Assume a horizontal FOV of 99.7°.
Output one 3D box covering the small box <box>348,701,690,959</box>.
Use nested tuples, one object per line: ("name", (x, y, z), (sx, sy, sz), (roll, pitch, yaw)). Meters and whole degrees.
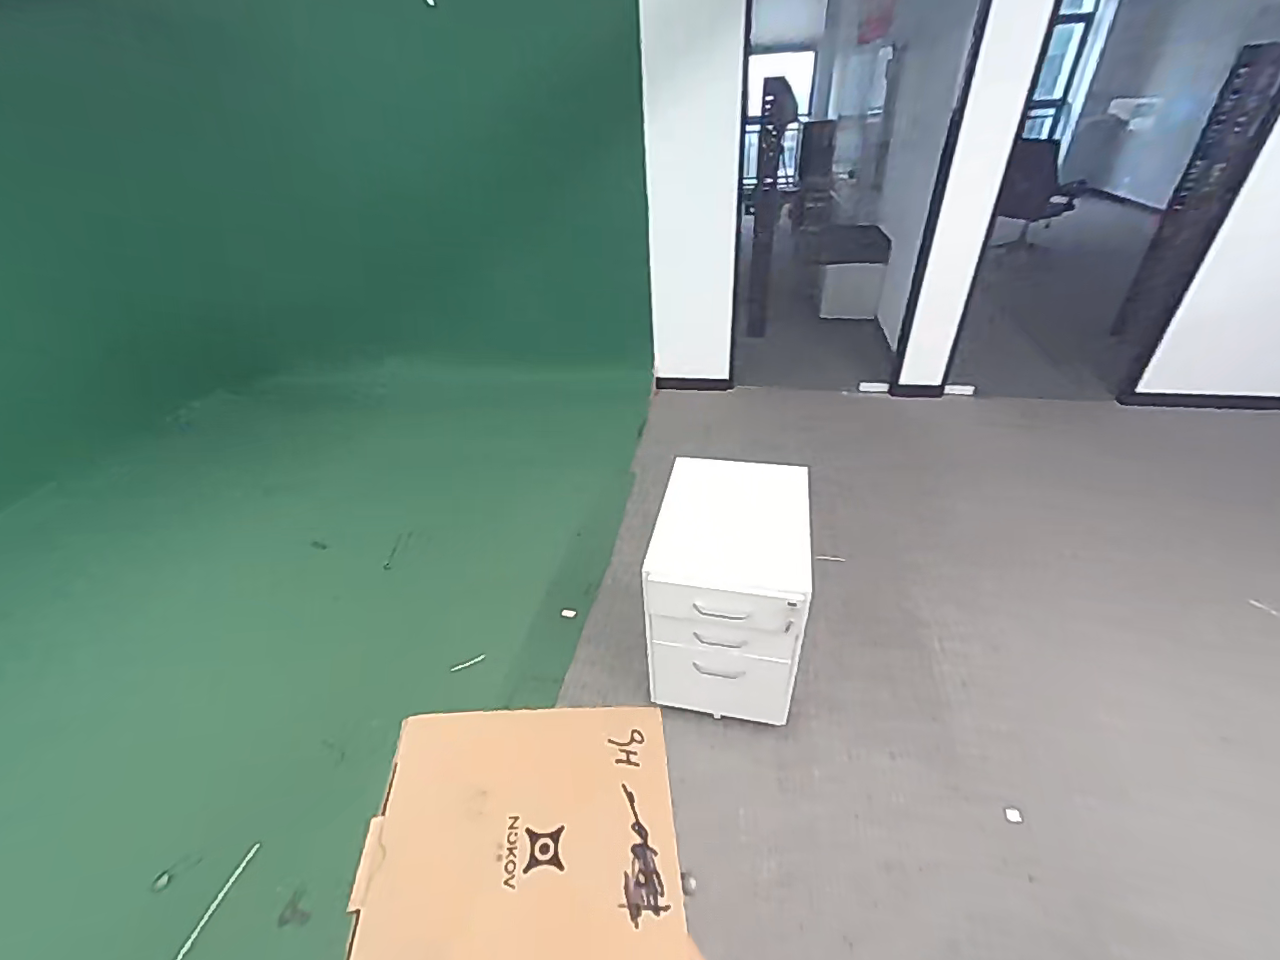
("small box", (-0.071, 0.272, 0.370), (0.179, 0.176, 0.168), (2, 40, -7))
